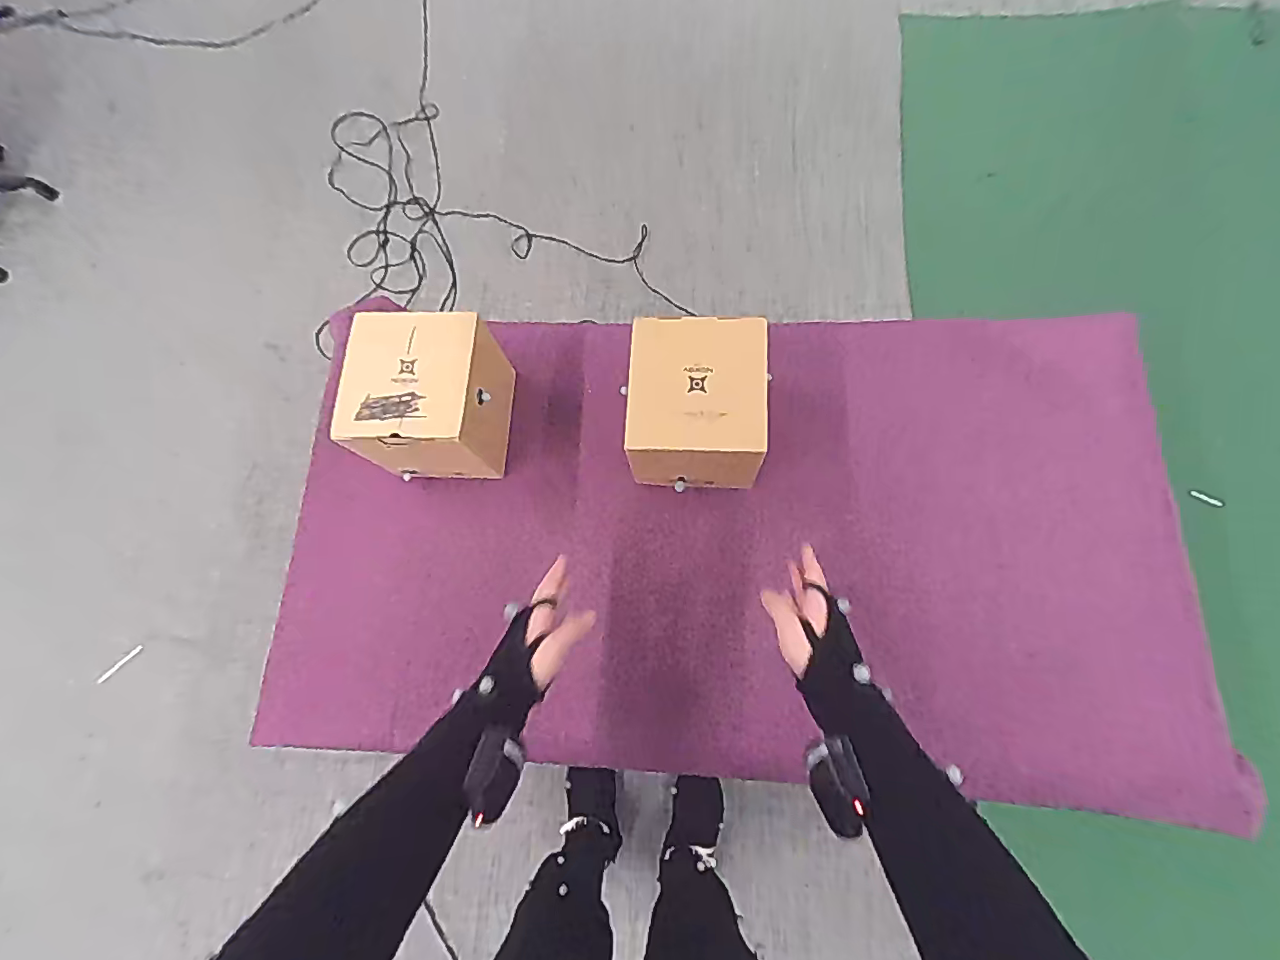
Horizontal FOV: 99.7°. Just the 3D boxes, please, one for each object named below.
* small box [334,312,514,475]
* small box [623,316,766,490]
[{"bbox_3d":[-0.284,-0.111,0.752,0.168,0.176,0.179,1,73,5],"label":"small box"},{"bbox_3d":[0.073,-0.095,0.719,0.168,0.176,0.179,2,74,6],"label":"small box"}]
